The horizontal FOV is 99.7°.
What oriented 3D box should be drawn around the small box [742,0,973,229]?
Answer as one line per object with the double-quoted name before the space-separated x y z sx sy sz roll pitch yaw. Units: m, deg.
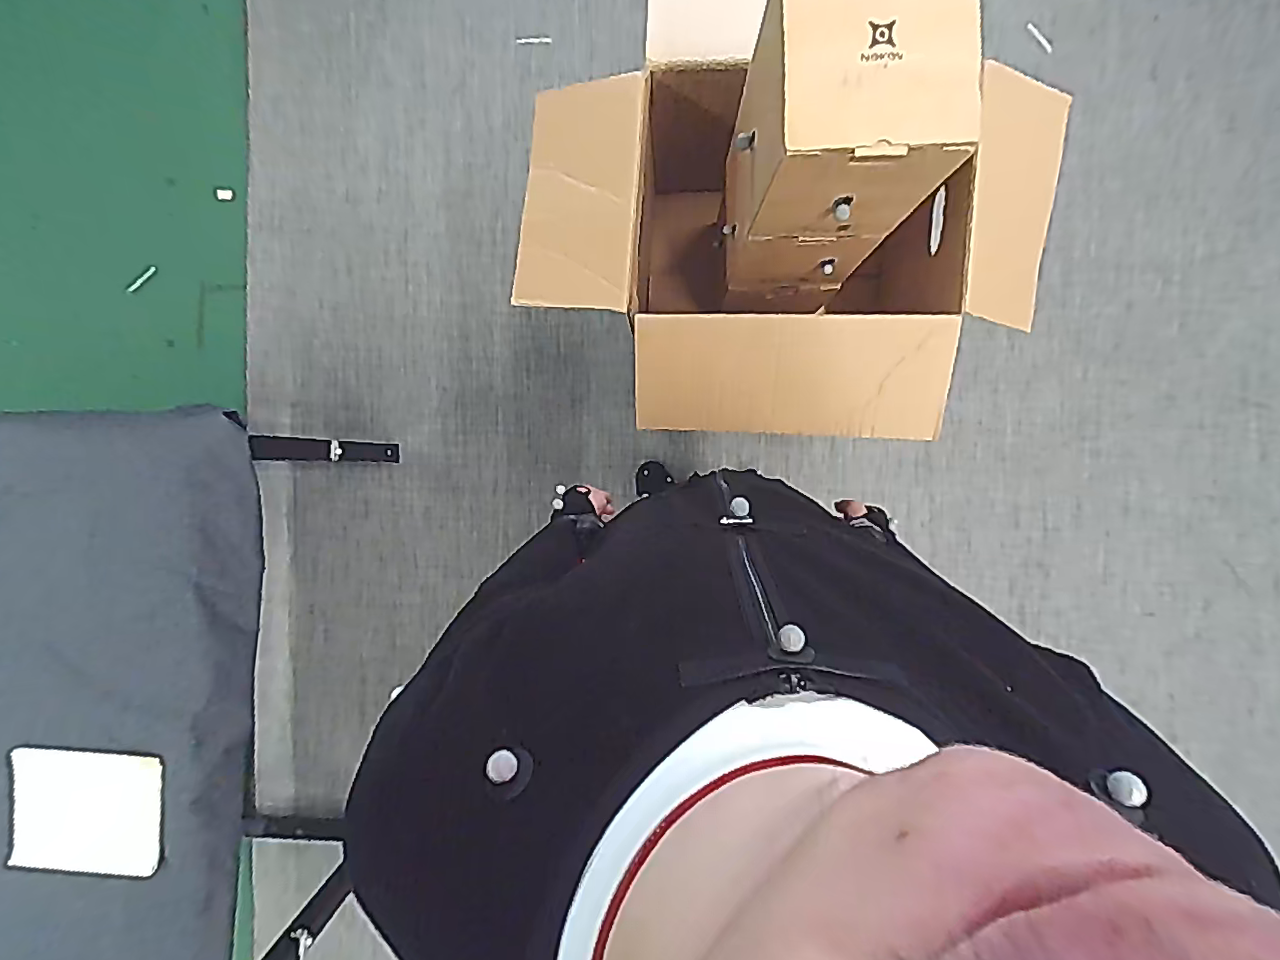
"small box" 0.198 -0.366 0.537 0.168 0.176 0.179 -1 92 0
